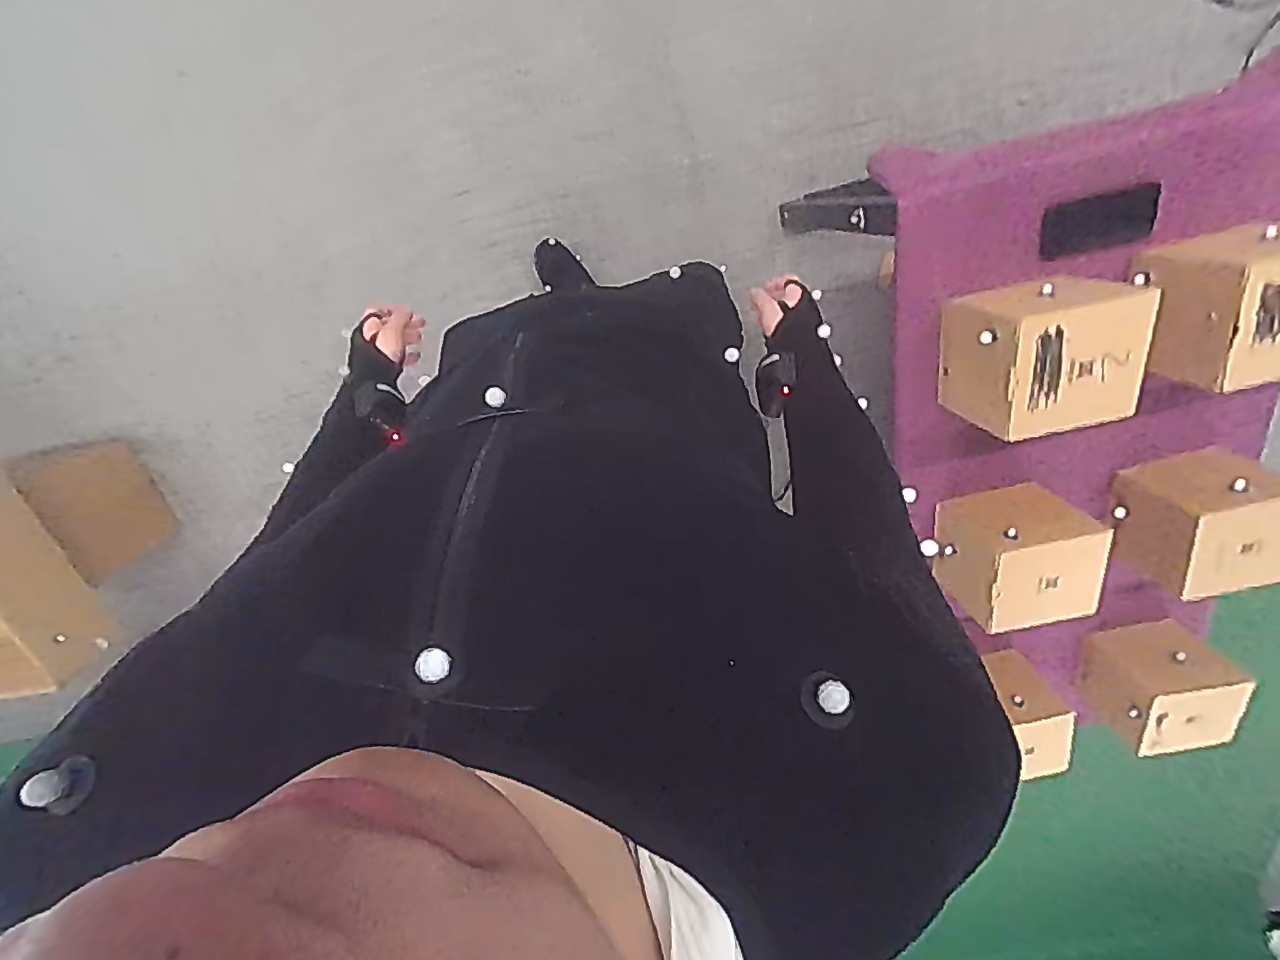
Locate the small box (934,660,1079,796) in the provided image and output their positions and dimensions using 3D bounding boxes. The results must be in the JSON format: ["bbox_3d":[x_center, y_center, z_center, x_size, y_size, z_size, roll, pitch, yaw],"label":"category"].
[{"bbox_3d":[0.714,0.484,1.073,0.179,0.176,0.168,-14,114,4],"label":"small box"}]

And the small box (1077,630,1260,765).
[{"bbox_3d":[1.016,0.416,1.058,0.179,0.176,0.168,-12,115,3],"label":"small box"}]

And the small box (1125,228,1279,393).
[{"bbox_3d":[0.819,-0.235,0.733,0.179,0.176,0.168,-14,116,4],"label":"small box"}]

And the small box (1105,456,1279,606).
[{"bbox_3d":[0.929,0.076,0.891,0.179,0.176,0.168,-13,115,5],"label":"small box"}]

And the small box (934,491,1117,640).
[{"bbox_3d":[0.628,0.134,0.904,0.179,0.176,0.168,-12,116,2],"label":"small box"}]
